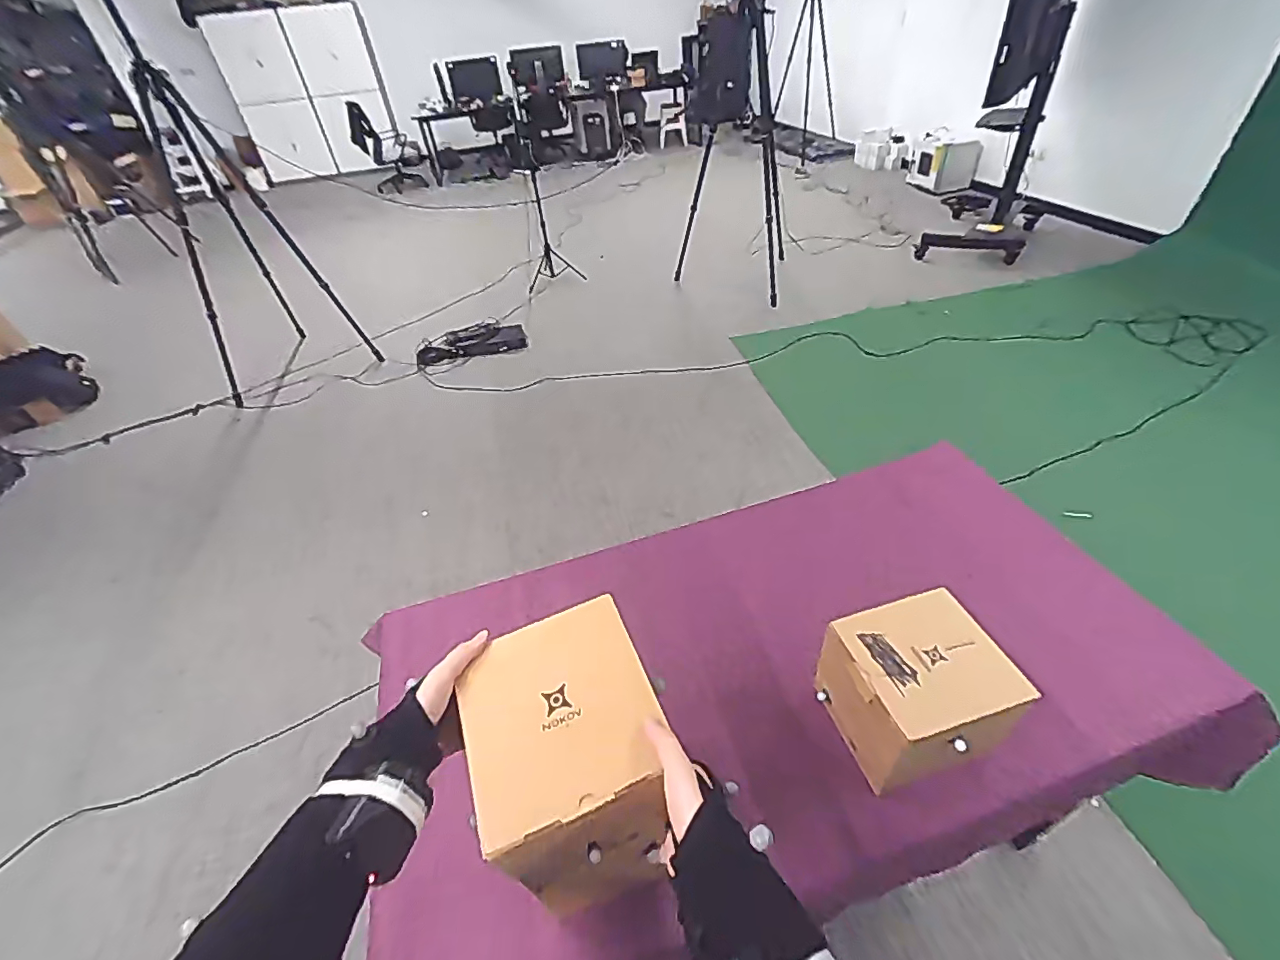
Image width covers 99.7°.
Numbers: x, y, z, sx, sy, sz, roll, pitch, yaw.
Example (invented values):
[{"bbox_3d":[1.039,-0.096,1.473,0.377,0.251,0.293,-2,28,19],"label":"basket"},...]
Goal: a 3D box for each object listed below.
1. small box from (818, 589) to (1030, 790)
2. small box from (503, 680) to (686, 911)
[{"bbox_3d":[0.354,0.279,0.718,0.179,0.176,0.168,-13,42,-9],"label":"small box"},{"bbox_3d":[-0.053,0.380,0.655,0.179,0.176,0.168,-16,41,-10],"label":"small box"}]
